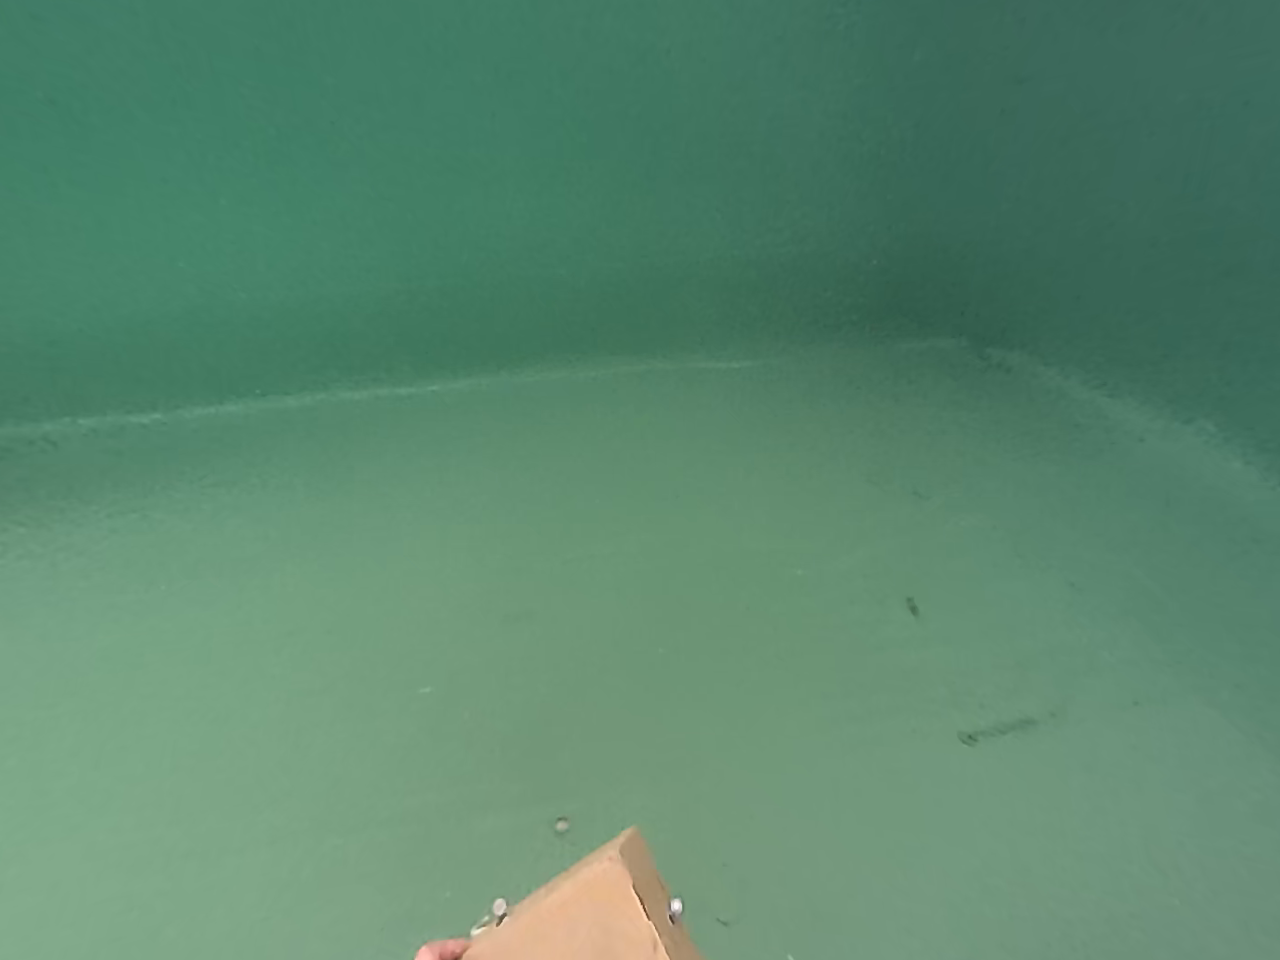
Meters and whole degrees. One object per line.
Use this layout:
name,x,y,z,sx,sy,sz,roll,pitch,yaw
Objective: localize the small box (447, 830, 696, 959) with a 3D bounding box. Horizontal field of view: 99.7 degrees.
small box,-0.050,0.467,0.508,0.179,0.176,0.168,-29,66,-11
